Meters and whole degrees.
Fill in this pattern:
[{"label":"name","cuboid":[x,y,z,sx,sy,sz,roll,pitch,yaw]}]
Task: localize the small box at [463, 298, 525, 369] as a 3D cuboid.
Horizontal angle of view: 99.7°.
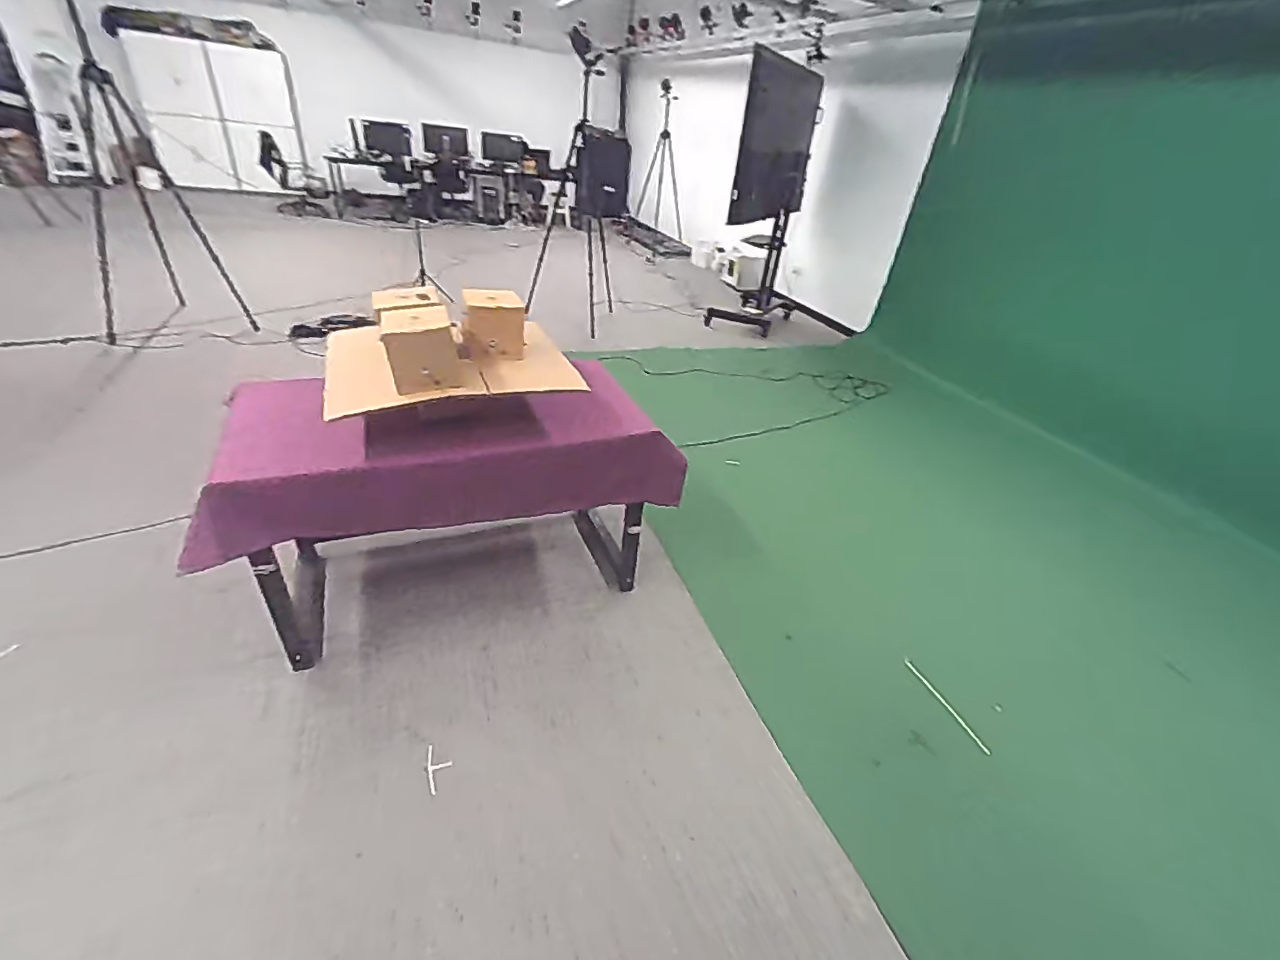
[{"label":"small box","cuboid":[-0.460,-0.457,1.689,0.168,0.176,0.179,-6,36,-23]}]
